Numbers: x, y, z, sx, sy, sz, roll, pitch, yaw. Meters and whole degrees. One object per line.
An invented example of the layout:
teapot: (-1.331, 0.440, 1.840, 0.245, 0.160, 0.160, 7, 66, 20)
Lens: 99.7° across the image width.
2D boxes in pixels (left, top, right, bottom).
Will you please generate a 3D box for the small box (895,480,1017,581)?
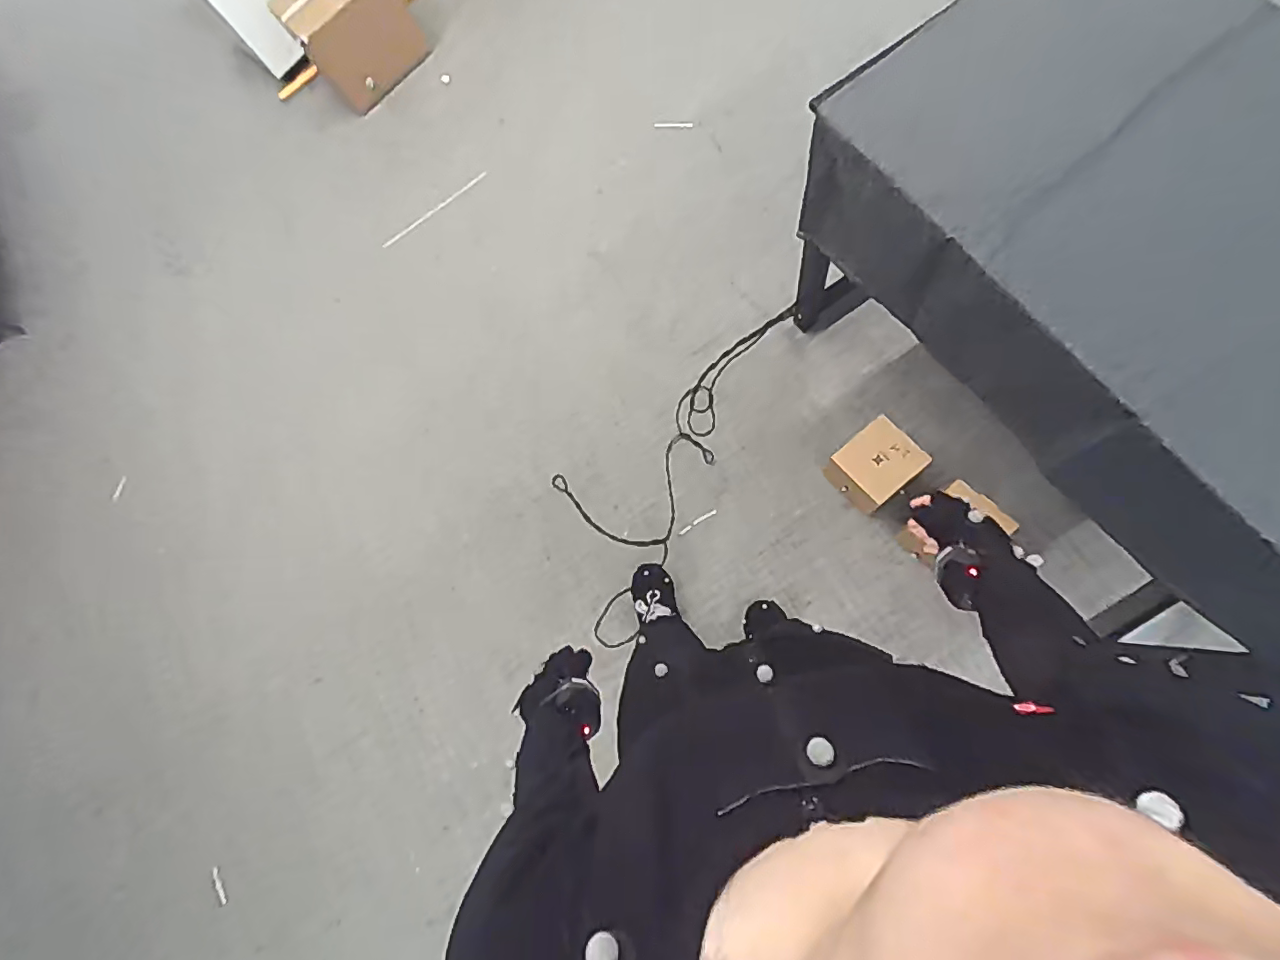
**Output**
small box: (0.766, 0.130, 1.334, 0.179, 0.176, 0.168, -45, 73, -2)
